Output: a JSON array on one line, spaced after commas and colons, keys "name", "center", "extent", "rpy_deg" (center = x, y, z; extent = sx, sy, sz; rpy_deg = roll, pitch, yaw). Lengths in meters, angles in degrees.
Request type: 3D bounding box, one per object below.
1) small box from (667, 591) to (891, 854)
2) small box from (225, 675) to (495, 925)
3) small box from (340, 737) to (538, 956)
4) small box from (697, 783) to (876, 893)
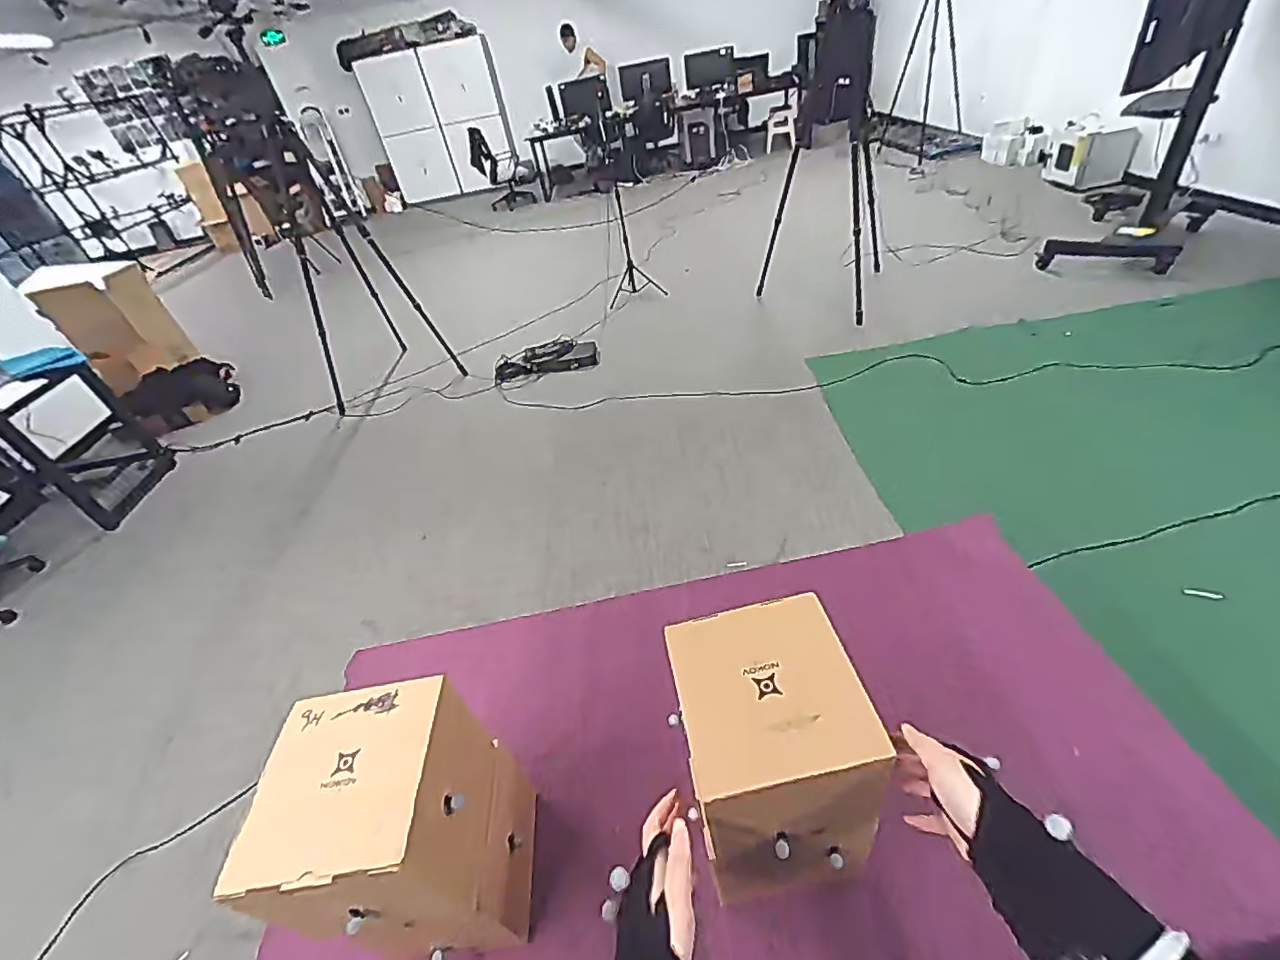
[{"name": "small box", "center": [0.131, 0.248, 0.559], "extent": [0.168, 0.176, 0.179], "rpy_deg": [-13, 40, 0]}, {"name": "small box", "center": [-0.262, 0.335, 0.562], "extent": [0.168, 0.176, 0.179], "rpy_deg": [-10, 40, 2]}, {"name": "small box", "center": [-0.231, 0.454, 0.672], "extent": [0.168, 0.176, 0.179], "rpy_deg": [-11, 40, 2]}, {"name": "small box", "center": [0.160, 0.373, 0.660], "extent": [0.179, 0.176, 0.168], "rpy_deg": [-12, 39, 1]}]
